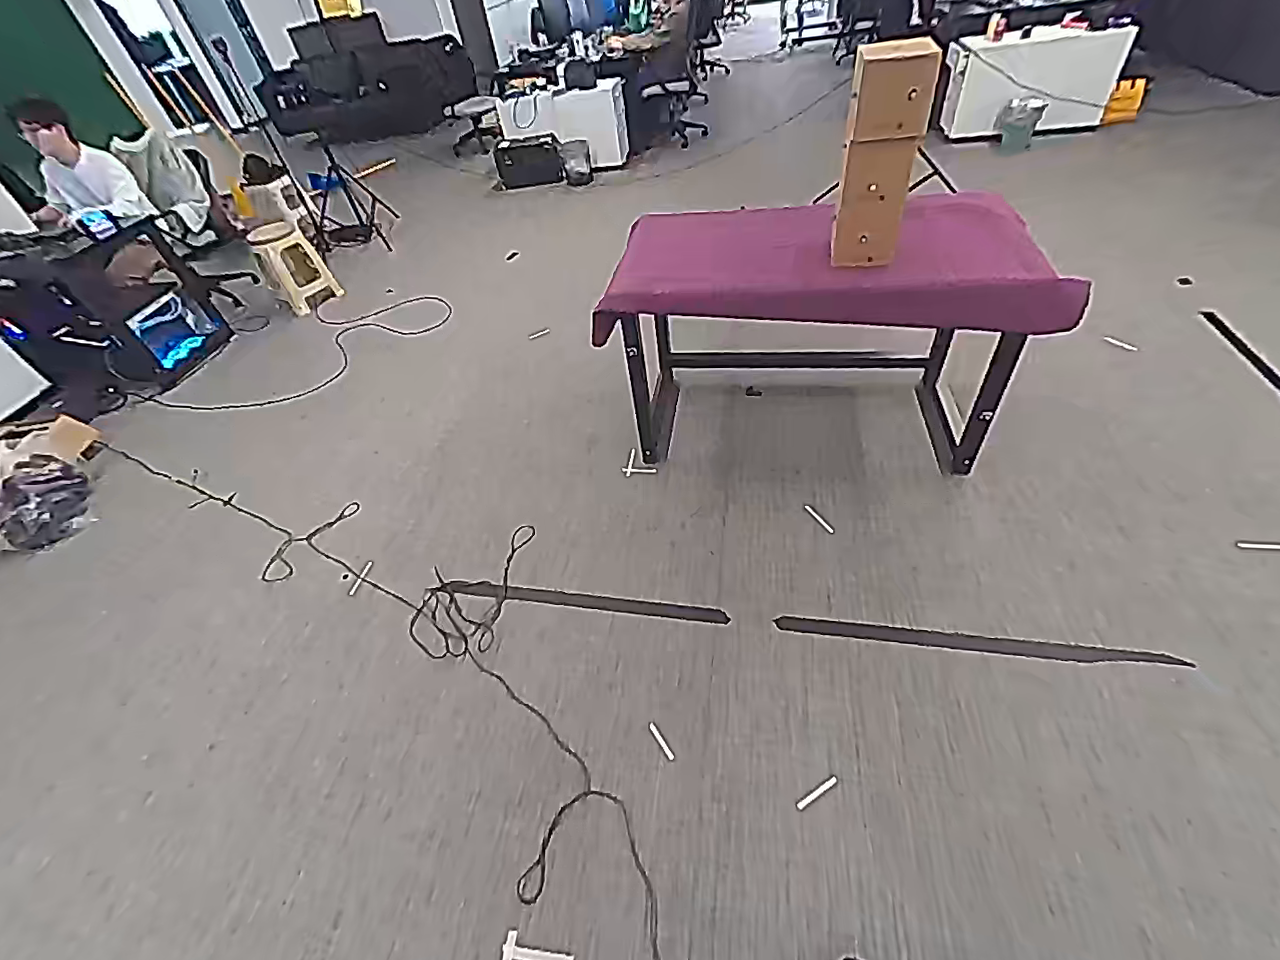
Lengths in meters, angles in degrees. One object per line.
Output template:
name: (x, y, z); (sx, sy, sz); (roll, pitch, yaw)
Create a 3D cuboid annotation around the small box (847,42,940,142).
small box: (0.611, -0.943, 1.323); (0.168, 0.176, 0.179); (3, 46, 11)

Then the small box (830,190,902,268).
small box: (0.650, -0.730, 1.569); (0.168, 0.176, 0.179); (5, 47, 14)

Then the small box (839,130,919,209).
small box: (0.633, -0.846, 1.454); (0.168, 0.176, 0.179); (4, 48, 14)
